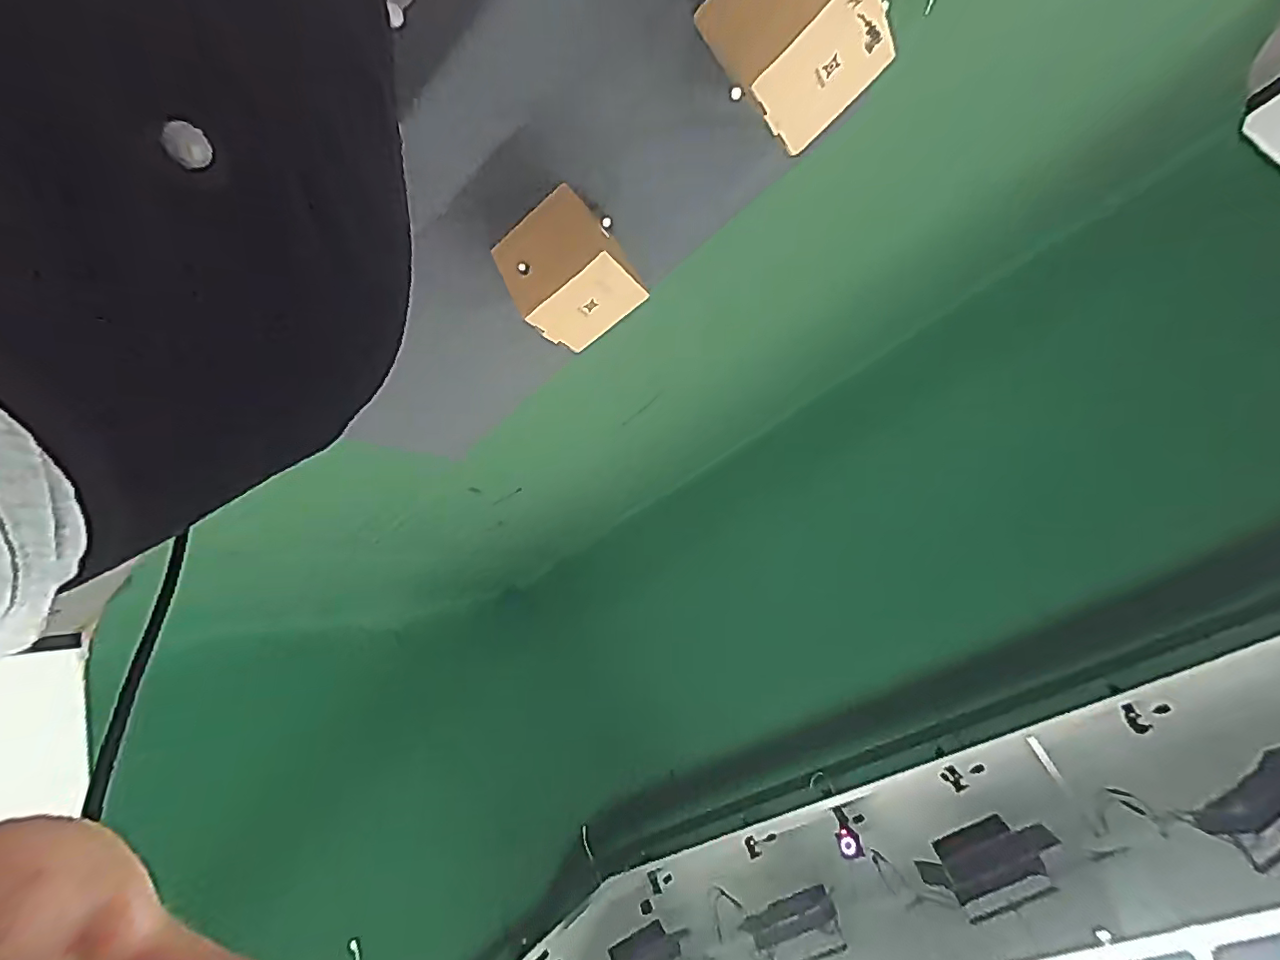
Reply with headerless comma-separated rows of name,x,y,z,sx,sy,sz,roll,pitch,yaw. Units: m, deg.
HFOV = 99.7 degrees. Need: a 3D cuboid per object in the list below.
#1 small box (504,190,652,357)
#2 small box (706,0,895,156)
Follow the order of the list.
small box,-0.115,-0.354,0.947,0.179,0.176,0.168,-36,158,19
small box,0.213,-0.609,0.745,0.179,0.176,0.168,-37,157,27
